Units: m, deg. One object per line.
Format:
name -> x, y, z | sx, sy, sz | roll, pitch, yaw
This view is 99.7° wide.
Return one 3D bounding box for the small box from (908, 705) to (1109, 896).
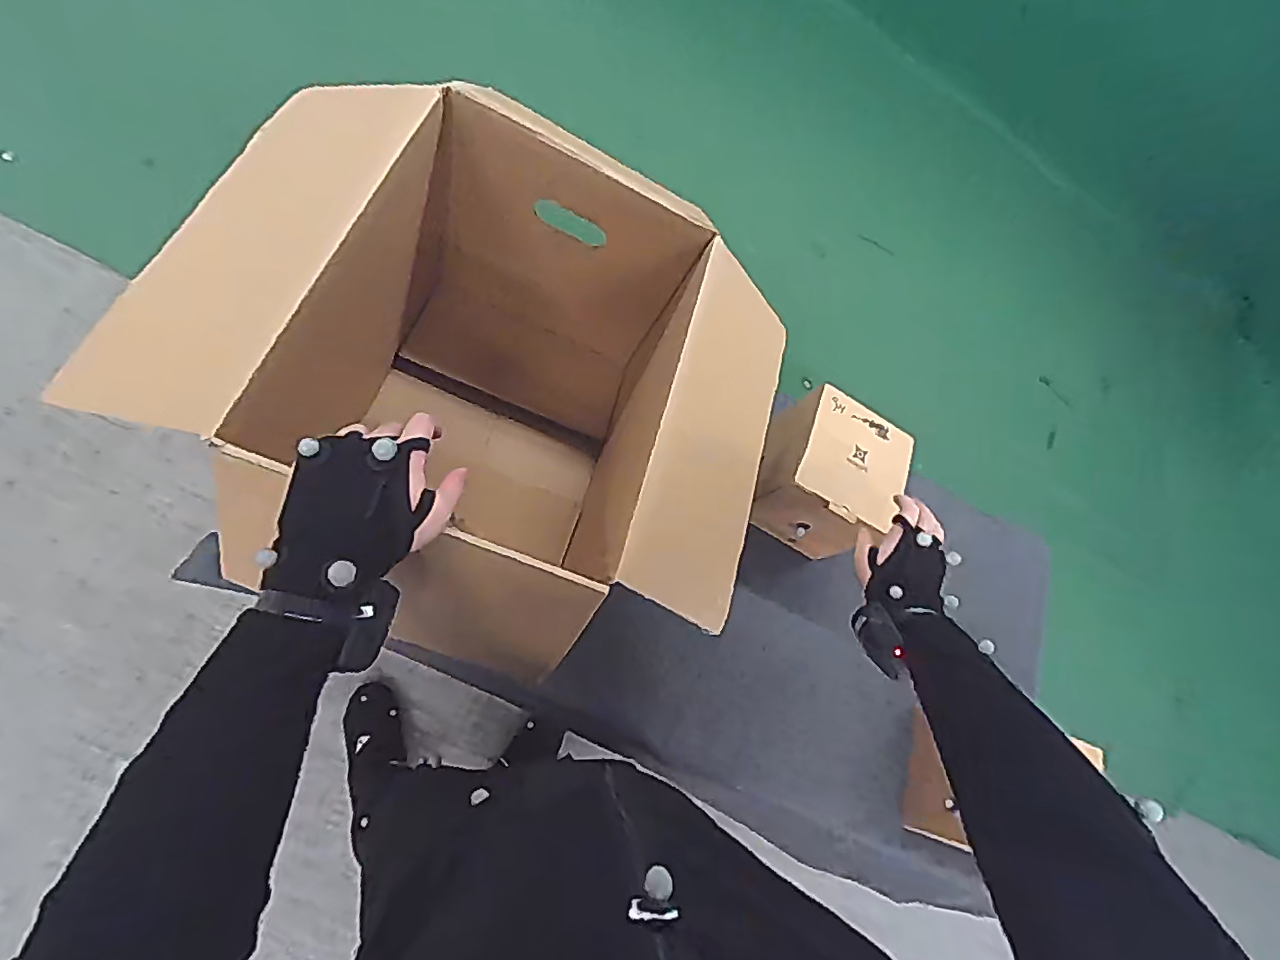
small box -> 0.509, 0.435, 0.763 | 0.168, 0.176, 0.179 | 25, 65, -10
